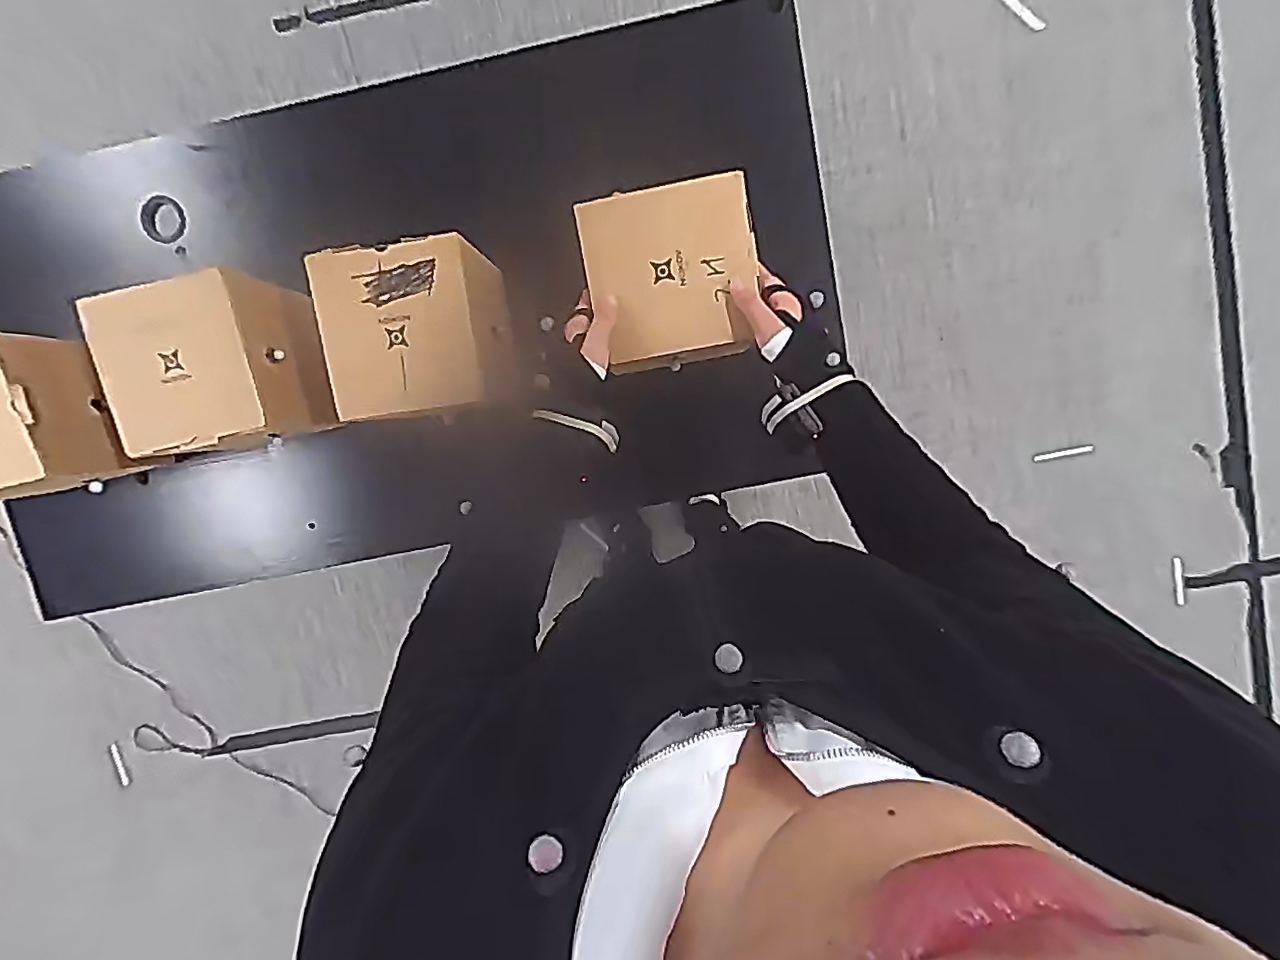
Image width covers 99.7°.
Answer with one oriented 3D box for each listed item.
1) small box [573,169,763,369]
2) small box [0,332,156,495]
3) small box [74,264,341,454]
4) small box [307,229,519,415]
[{"bbox_3d":[0.033,-0.228,0.633,0.179,0.176,0.168,-10,98,3],"label":"small box"},{"bbox_3d":[-0.755,-0.077,0.668,0.179,0.176,0.168,-13,97,2],"label":"small box"},{"bbox_3d":[-0.500,-0.138,0.657,0.168,0.176,0.179,-12,97,2],"label":"small box"},{"bbox_3d":[-0.253,-0.174,0.646,0.168,0.176,0.179,-7,98,2],"label":"small box"}]
